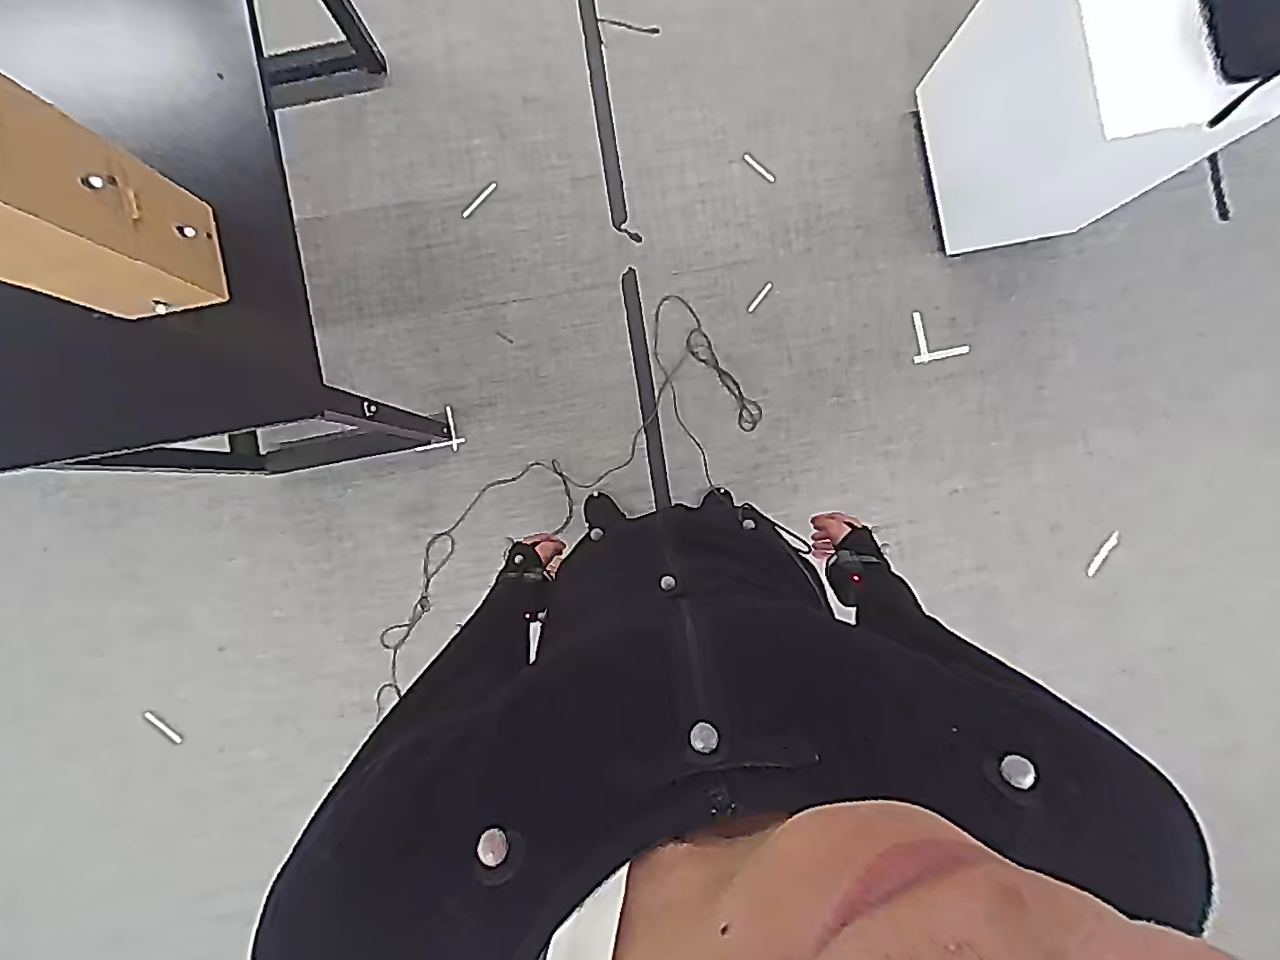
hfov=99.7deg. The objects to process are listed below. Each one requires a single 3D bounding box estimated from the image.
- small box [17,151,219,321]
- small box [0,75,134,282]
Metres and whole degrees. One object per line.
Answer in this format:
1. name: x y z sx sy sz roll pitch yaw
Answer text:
1. small box: -0.788 -0.359 0.825 0.179 0.176 0.168 -12 89 -1
2. small box: -0.789 -0.360 0.660 0.179 0.176 0.168 -11 90 -1
